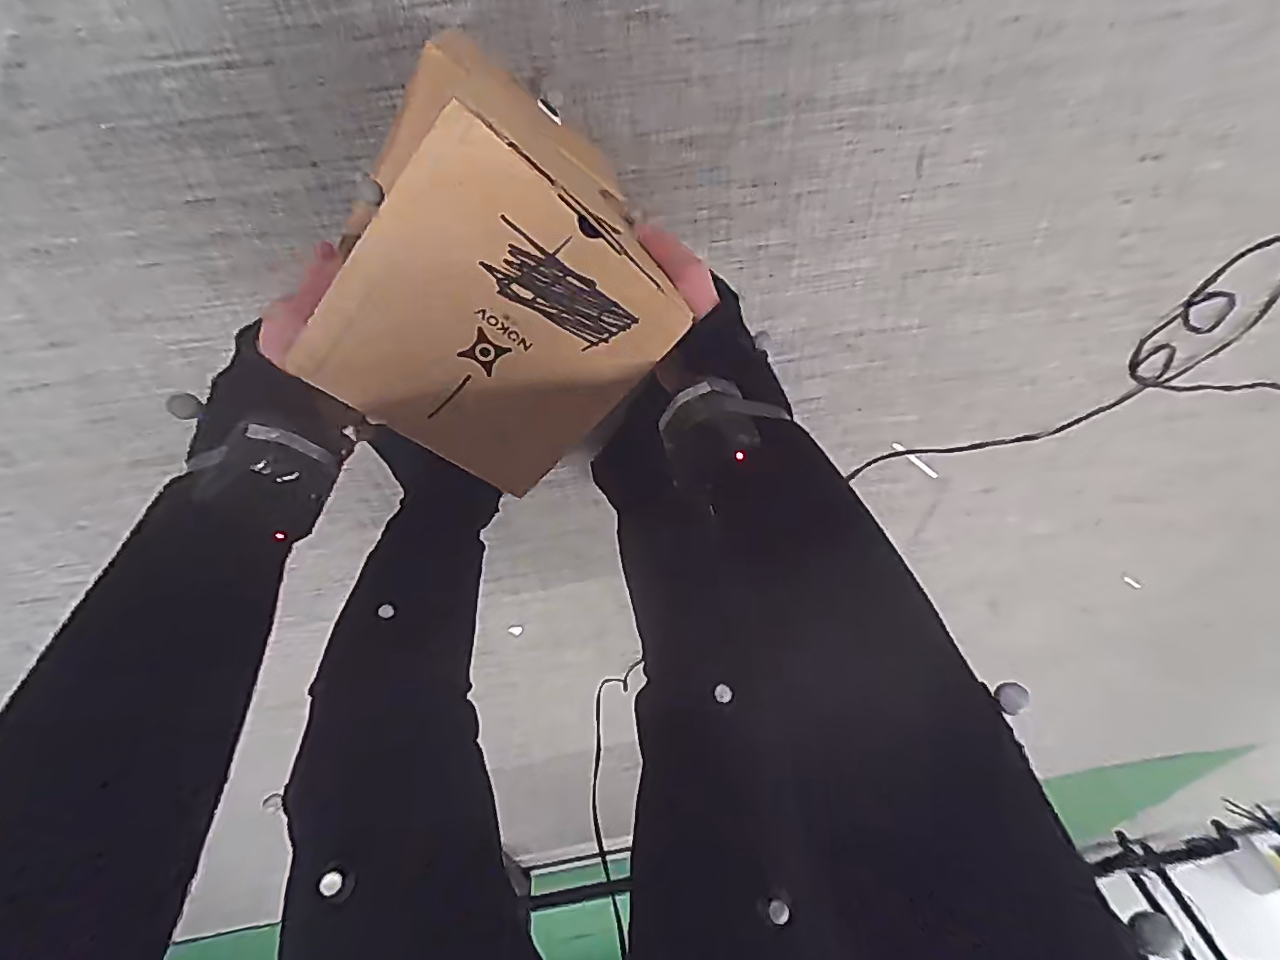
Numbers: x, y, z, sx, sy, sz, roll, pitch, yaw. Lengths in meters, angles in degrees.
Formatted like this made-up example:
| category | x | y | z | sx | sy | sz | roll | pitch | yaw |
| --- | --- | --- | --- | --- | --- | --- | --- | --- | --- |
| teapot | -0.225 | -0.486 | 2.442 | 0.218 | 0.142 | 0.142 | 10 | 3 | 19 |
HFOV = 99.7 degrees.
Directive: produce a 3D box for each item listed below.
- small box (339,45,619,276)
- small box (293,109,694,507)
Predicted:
| category | x | y | z | sx | sy | sz | roll | pitch | yaw |
| --- | --- | --- | --- | --- | --- | --- | --- | --- | --- |
| small box | -0.140 | -0.248 | 0.494 | 0.168 | 0.176 | 0.179 | 26 | 122 | -31 |
| small box | -0.094 | -0.122 | 0.377 | 0.168 | 0.176 | 0.179 | 35 | 114 | -30 |
